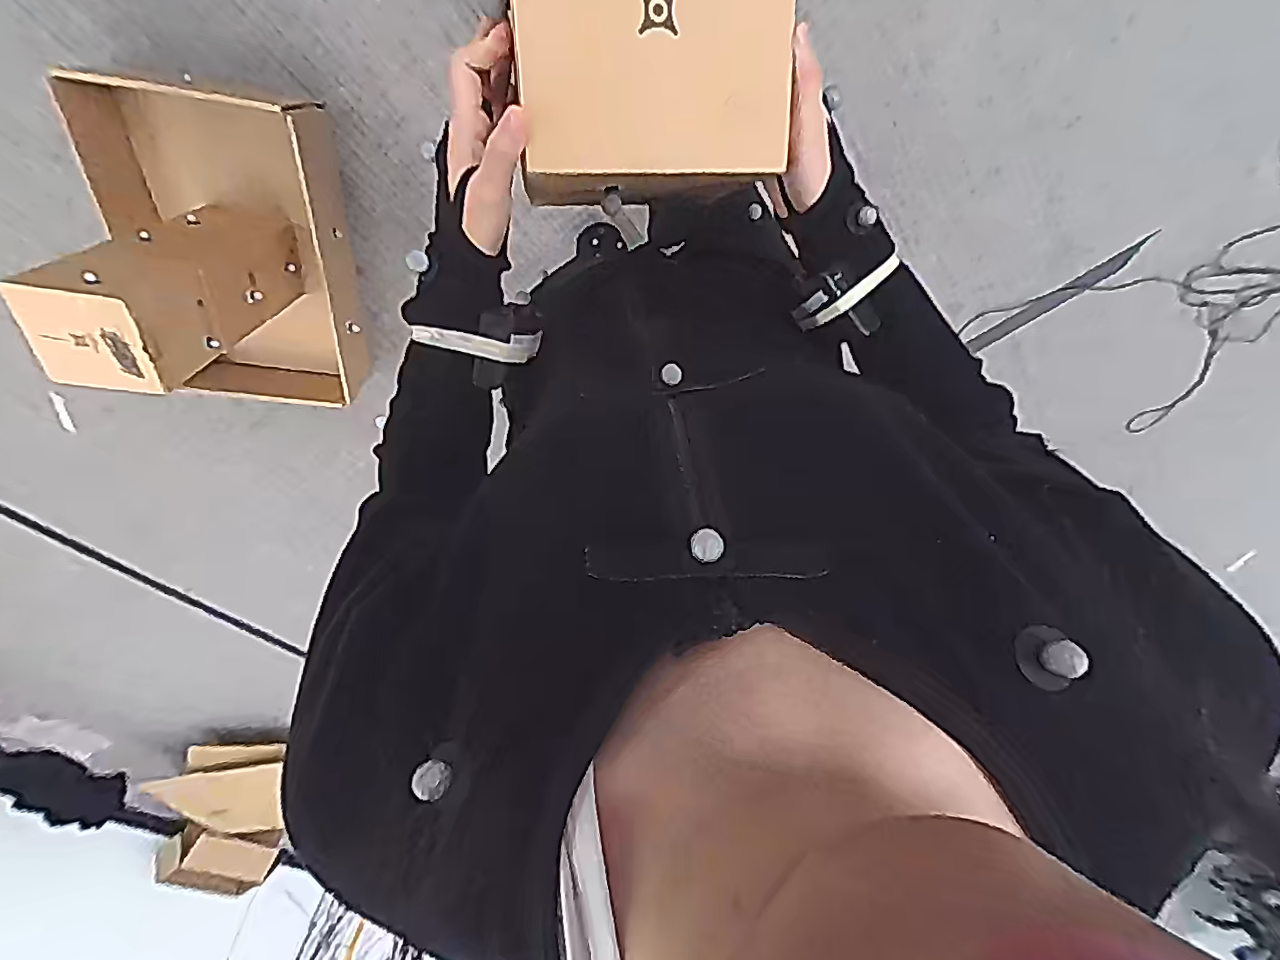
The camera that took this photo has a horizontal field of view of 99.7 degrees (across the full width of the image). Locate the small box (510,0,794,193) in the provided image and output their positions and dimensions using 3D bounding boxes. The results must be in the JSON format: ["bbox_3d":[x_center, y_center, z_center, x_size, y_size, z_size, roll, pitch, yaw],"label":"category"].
[{"bbox_3d":[-0.004,-0.307,0.377,0.168,0.176,0.179,-6,109,-9],"label":"small box"}]

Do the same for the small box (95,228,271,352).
[{"bbox_3d":[-0.851,-0.367,1.030,0.179,0.176,0.168,6,128,-9],"label":"small box"}]

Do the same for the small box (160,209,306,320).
[{"bbox_3d":[-0.857,-0.465,1.159,0.179,0.176,0.168,8,127,-9],"label":"small box"}]

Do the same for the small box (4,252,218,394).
[{"bbox_3d":[-0.850,-0.265,0.901,0.179,0.176,0.168,7,128,-6],"label":"small box"}]
